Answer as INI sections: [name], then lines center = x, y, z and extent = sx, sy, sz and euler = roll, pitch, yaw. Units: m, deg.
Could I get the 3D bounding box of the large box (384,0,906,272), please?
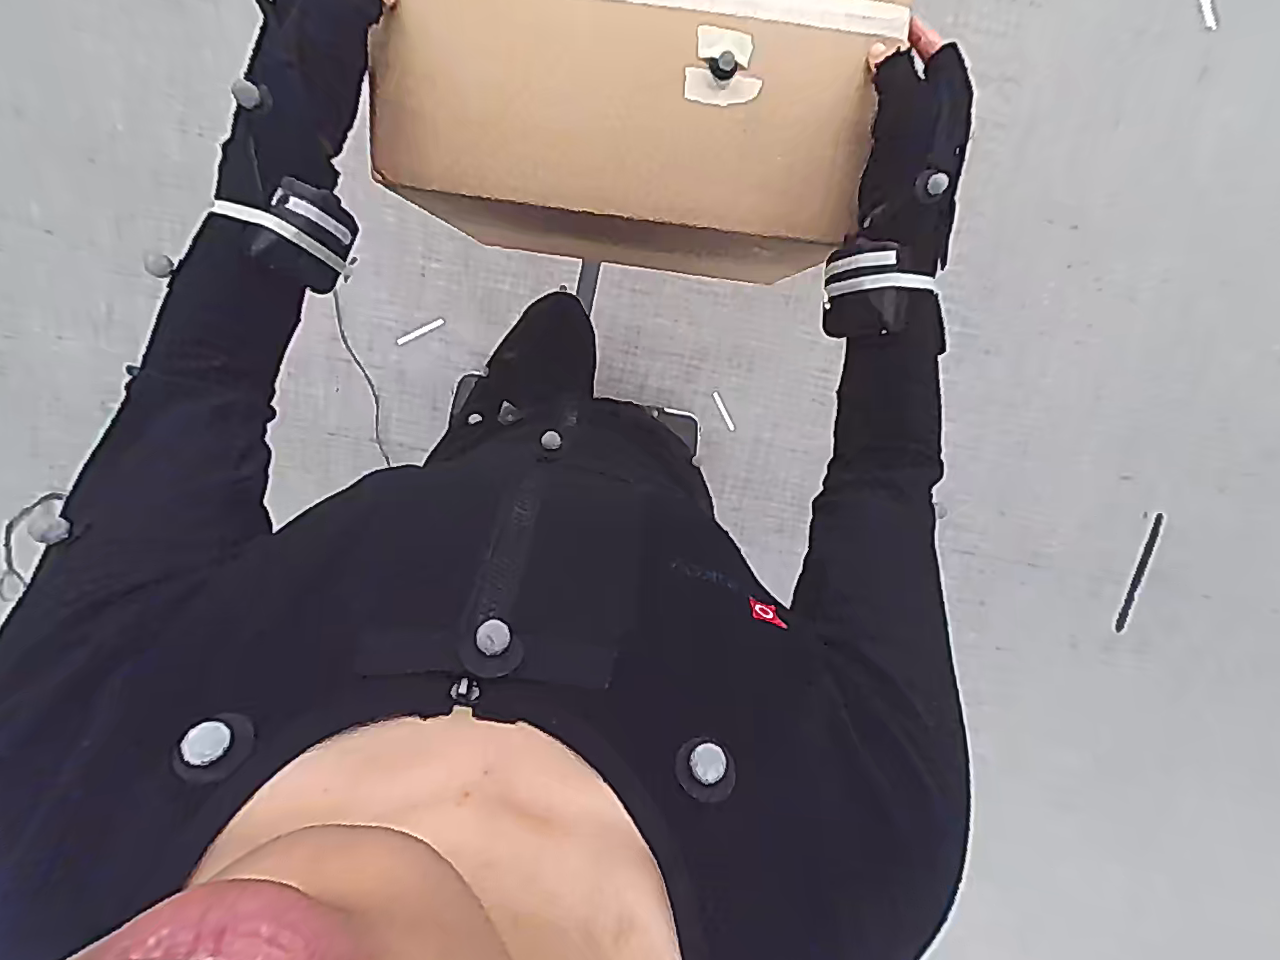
[large box]
center = 0.002, -0.414, 0.554
extent = 0.408, 0.320, 0.320
euler = 6, 105, -3
